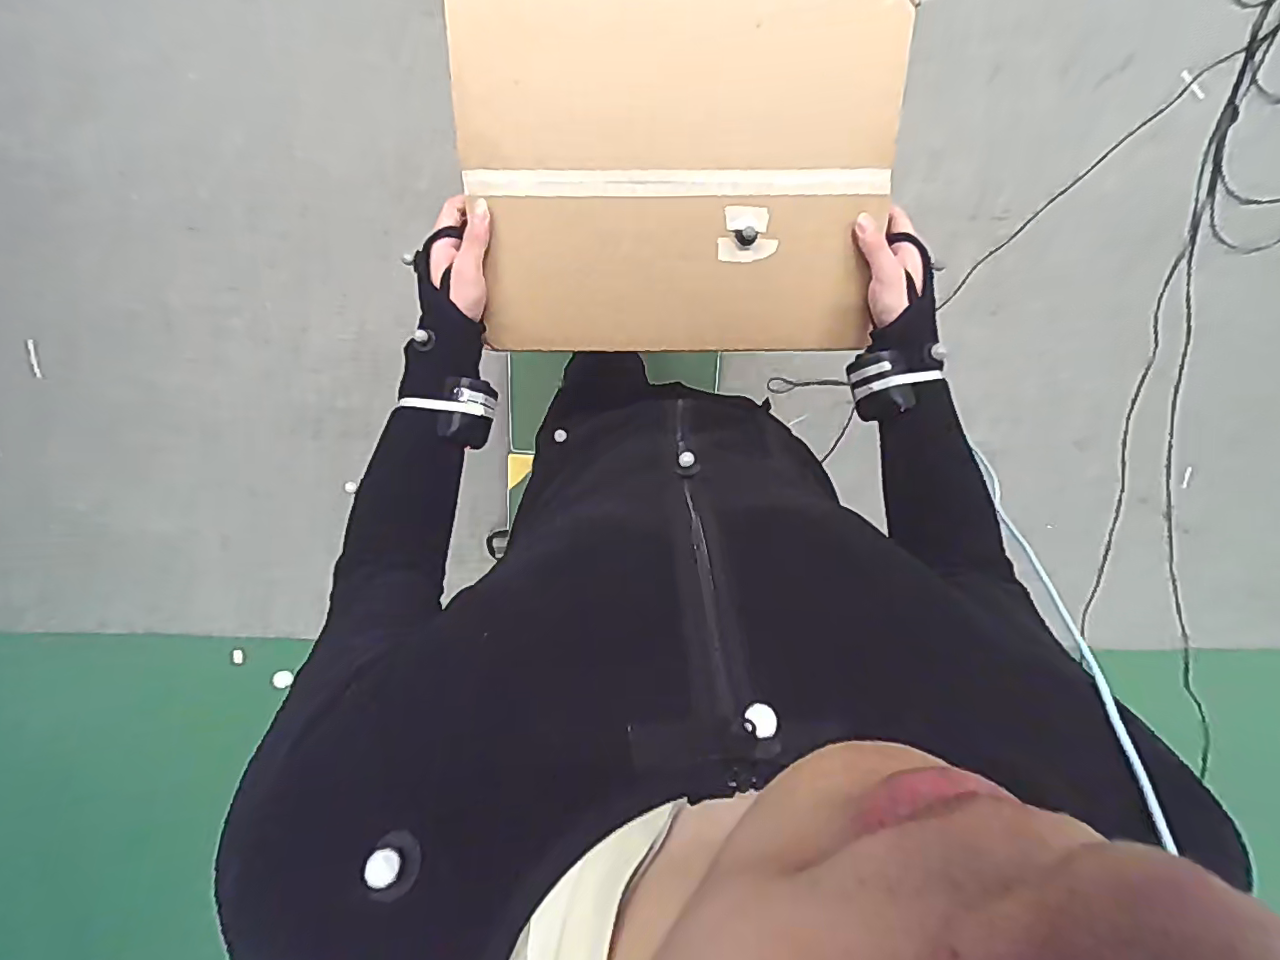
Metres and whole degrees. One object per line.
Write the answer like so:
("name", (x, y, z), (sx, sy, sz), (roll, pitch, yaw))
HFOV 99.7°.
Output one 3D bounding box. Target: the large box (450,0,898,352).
("large box", (0.028, -0.338, 0.665), (0.408, 0.320, 0.320), (-1, 112, -1))
